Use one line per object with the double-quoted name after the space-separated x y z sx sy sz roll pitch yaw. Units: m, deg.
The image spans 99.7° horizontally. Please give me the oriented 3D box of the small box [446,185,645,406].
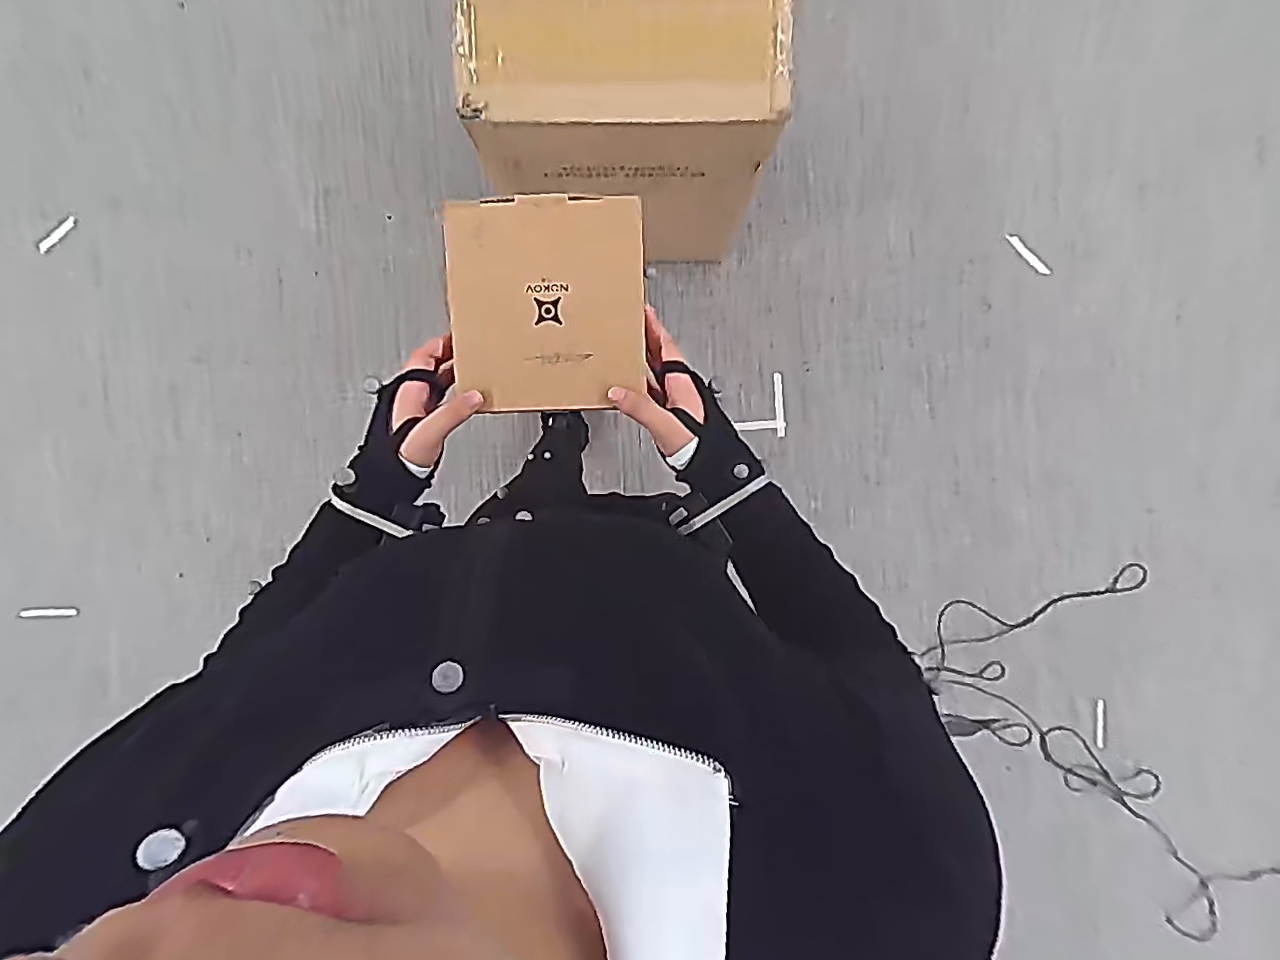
-0.081 -0.166 0.538 0.168 0.176 0.179 -2 97 -1 "small box"
